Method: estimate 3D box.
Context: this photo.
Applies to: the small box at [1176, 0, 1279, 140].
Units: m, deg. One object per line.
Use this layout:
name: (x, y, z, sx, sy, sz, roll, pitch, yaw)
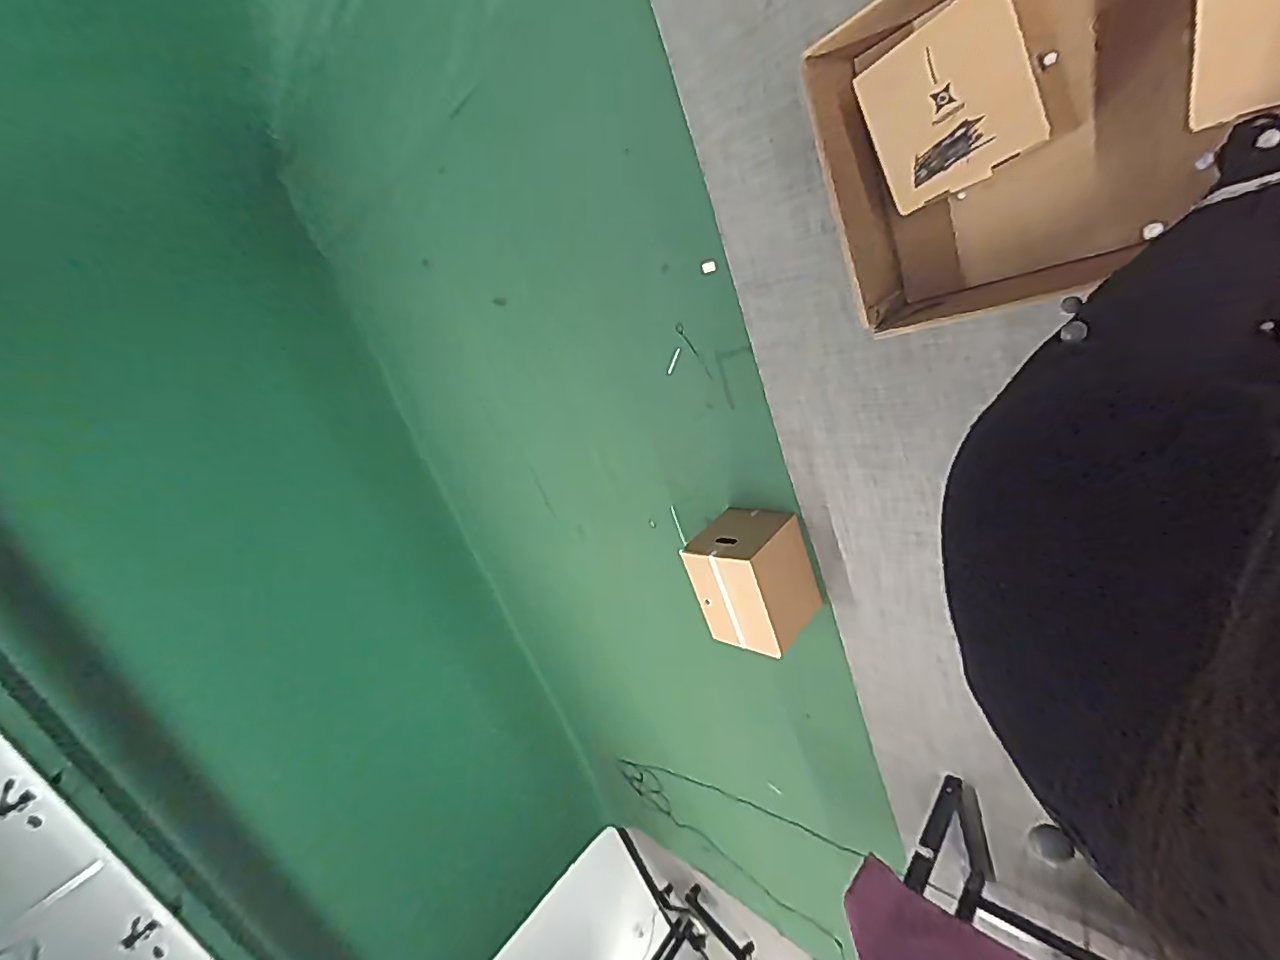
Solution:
small box: (0.600, -0.432, 0.474, 0.168, 0.176, 0.179, 6, 122, 46)
